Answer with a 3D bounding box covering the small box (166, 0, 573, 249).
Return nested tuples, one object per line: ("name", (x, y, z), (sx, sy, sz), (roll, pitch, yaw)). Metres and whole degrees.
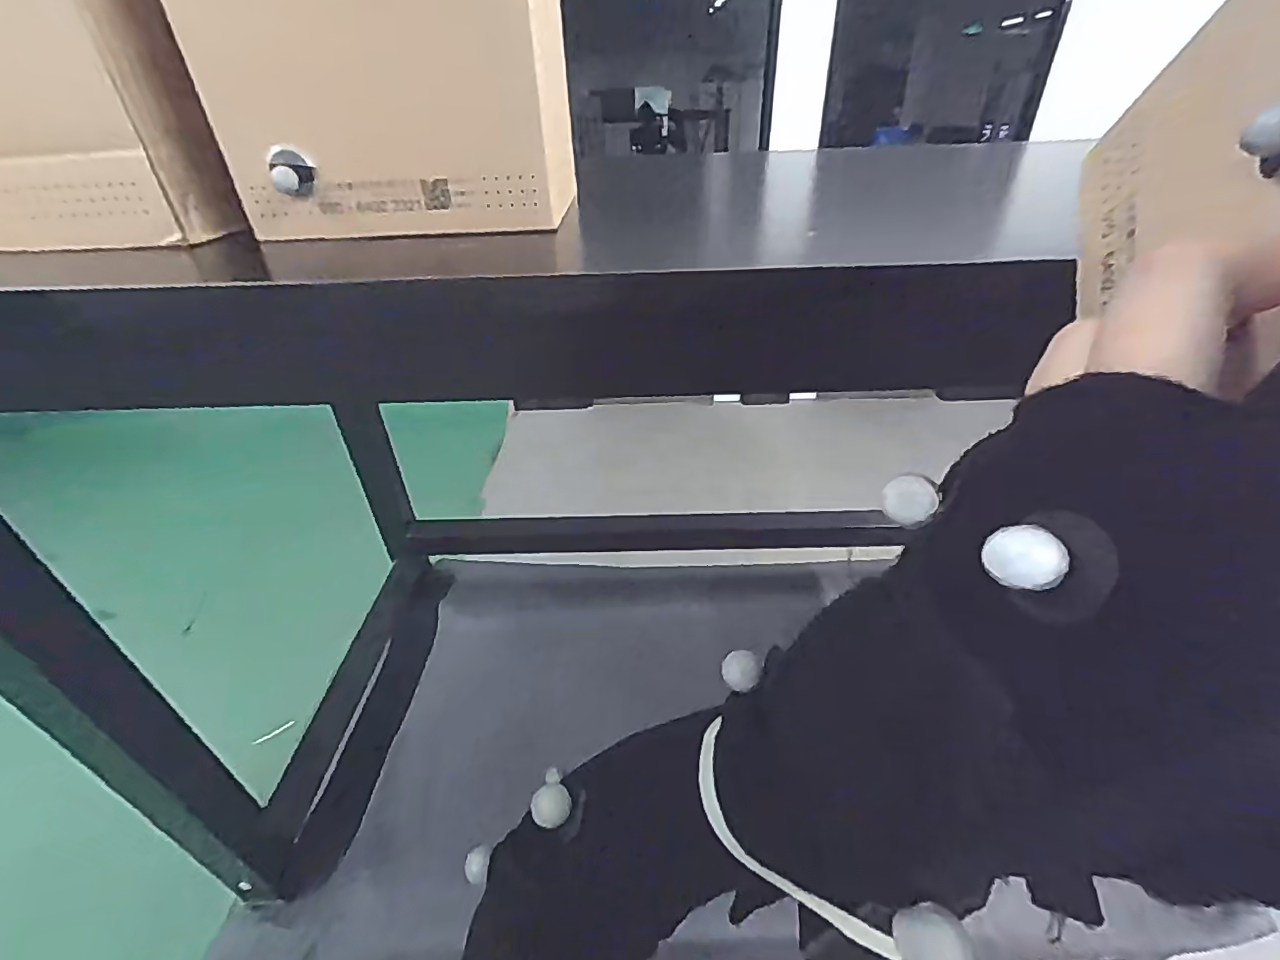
("small box", (-0.134, -0.241, 0.326), (0.168, 0.176, 0.179), (-2, 34, 0))
